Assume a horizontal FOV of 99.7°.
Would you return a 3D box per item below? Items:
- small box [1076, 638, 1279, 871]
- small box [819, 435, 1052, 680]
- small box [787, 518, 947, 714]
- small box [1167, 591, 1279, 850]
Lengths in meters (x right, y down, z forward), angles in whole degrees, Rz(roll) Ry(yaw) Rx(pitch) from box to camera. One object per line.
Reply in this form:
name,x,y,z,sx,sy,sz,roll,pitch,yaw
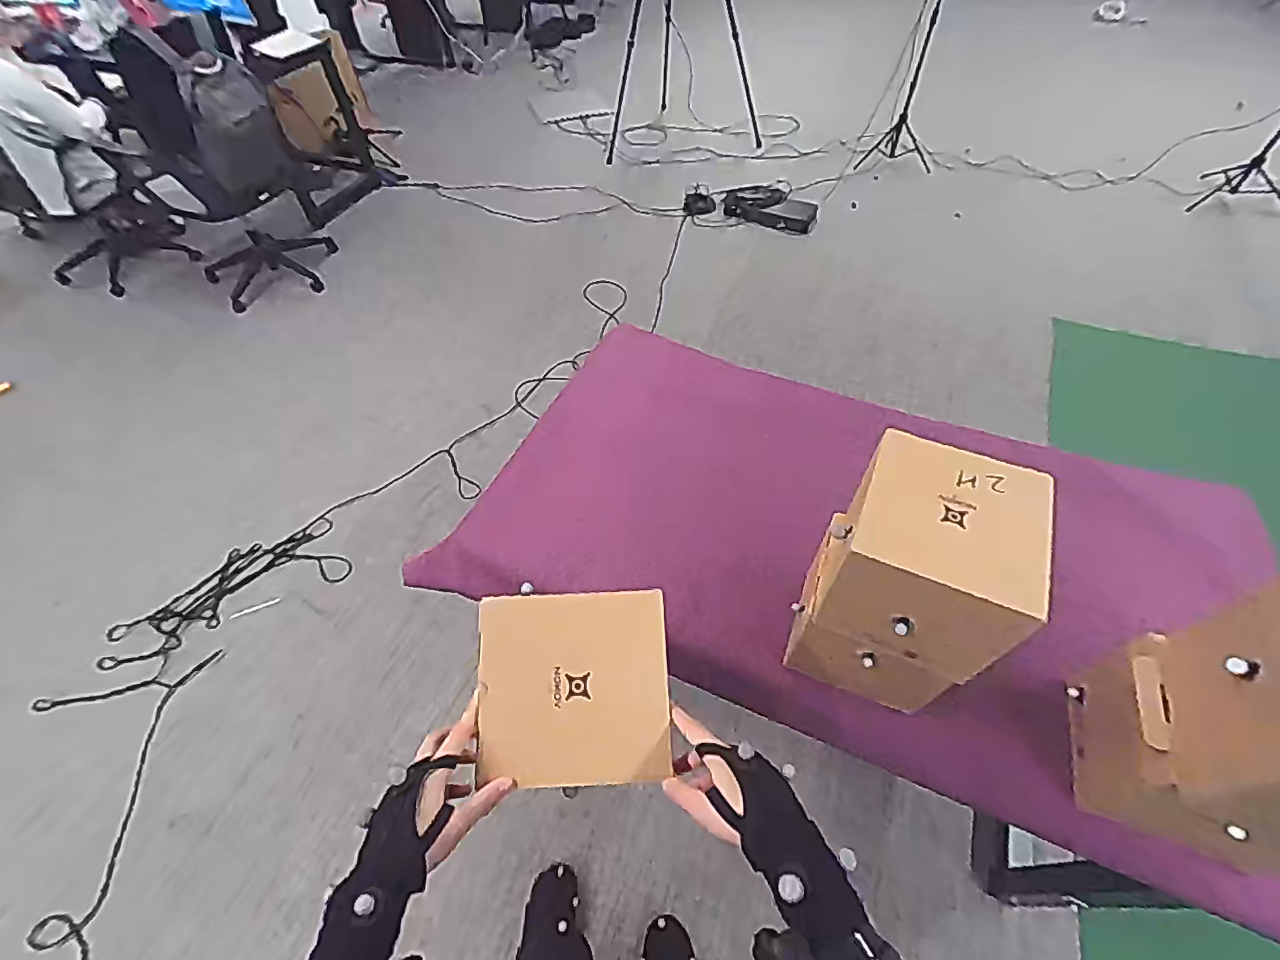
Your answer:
small box,0.626,0.309,0.603,0.179,0.176,0.168,16,55,15
small box,0.308,0.087,0.589,0.168,0.176,0.179,21,55,18
small box,0.310,0.184,0.721,0.179,0.176,0.168,19,54,16
small box,0.610,0.219,0.466,0.168,0.176,0.179,18,54,17
